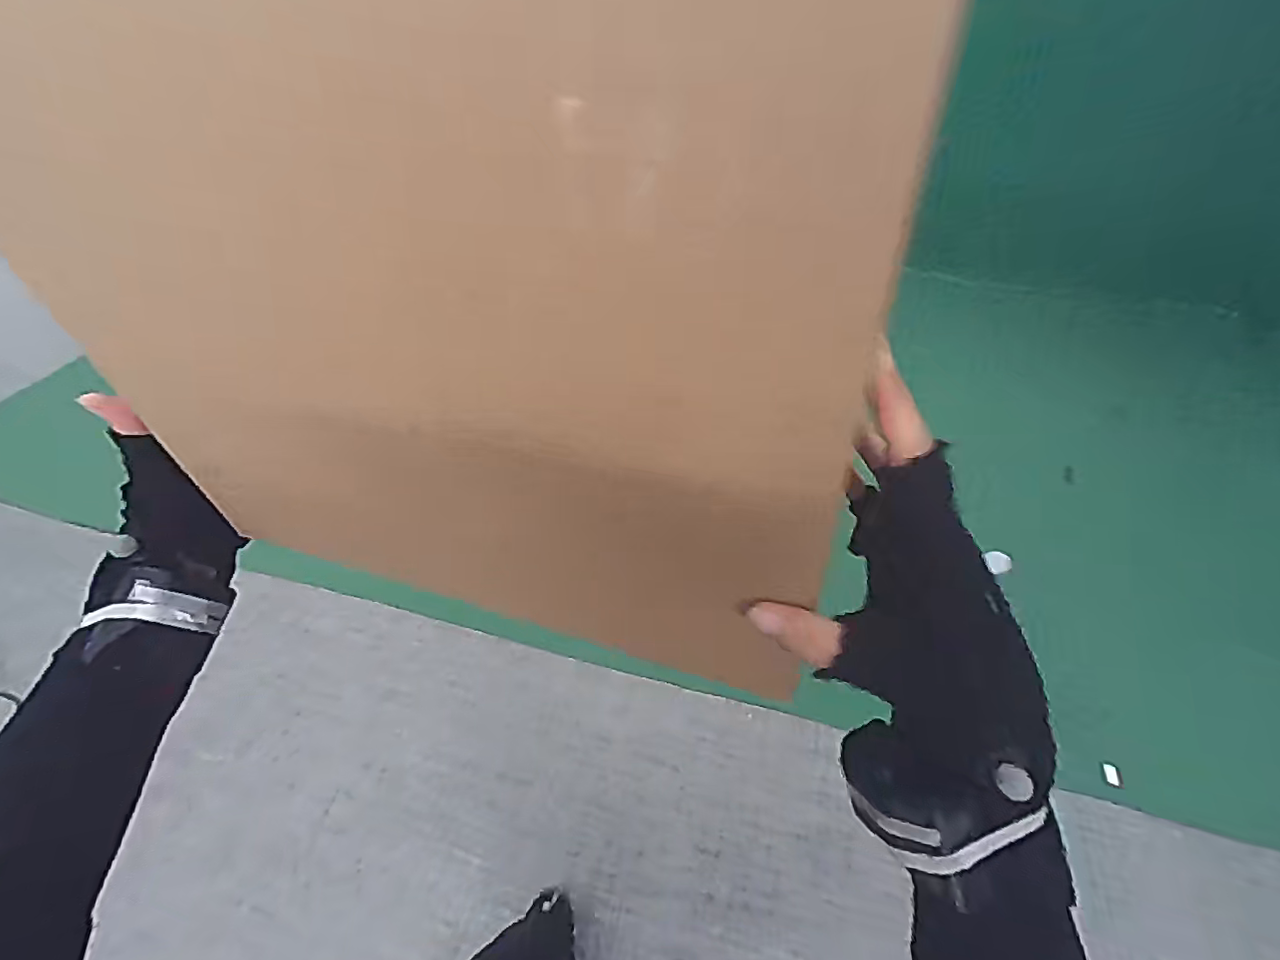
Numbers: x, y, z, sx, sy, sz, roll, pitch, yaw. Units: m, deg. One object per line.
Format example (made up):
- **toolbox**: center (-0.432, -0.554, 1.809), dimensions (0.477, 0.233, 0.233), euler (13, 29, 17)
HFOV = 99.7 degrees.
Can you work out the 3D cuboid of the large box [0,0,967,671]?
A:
- **large box**: center (-0.061, -0.134, 0.355), dimensions (0.408, 0.320, 0.320), euler (12, 46, 18)
